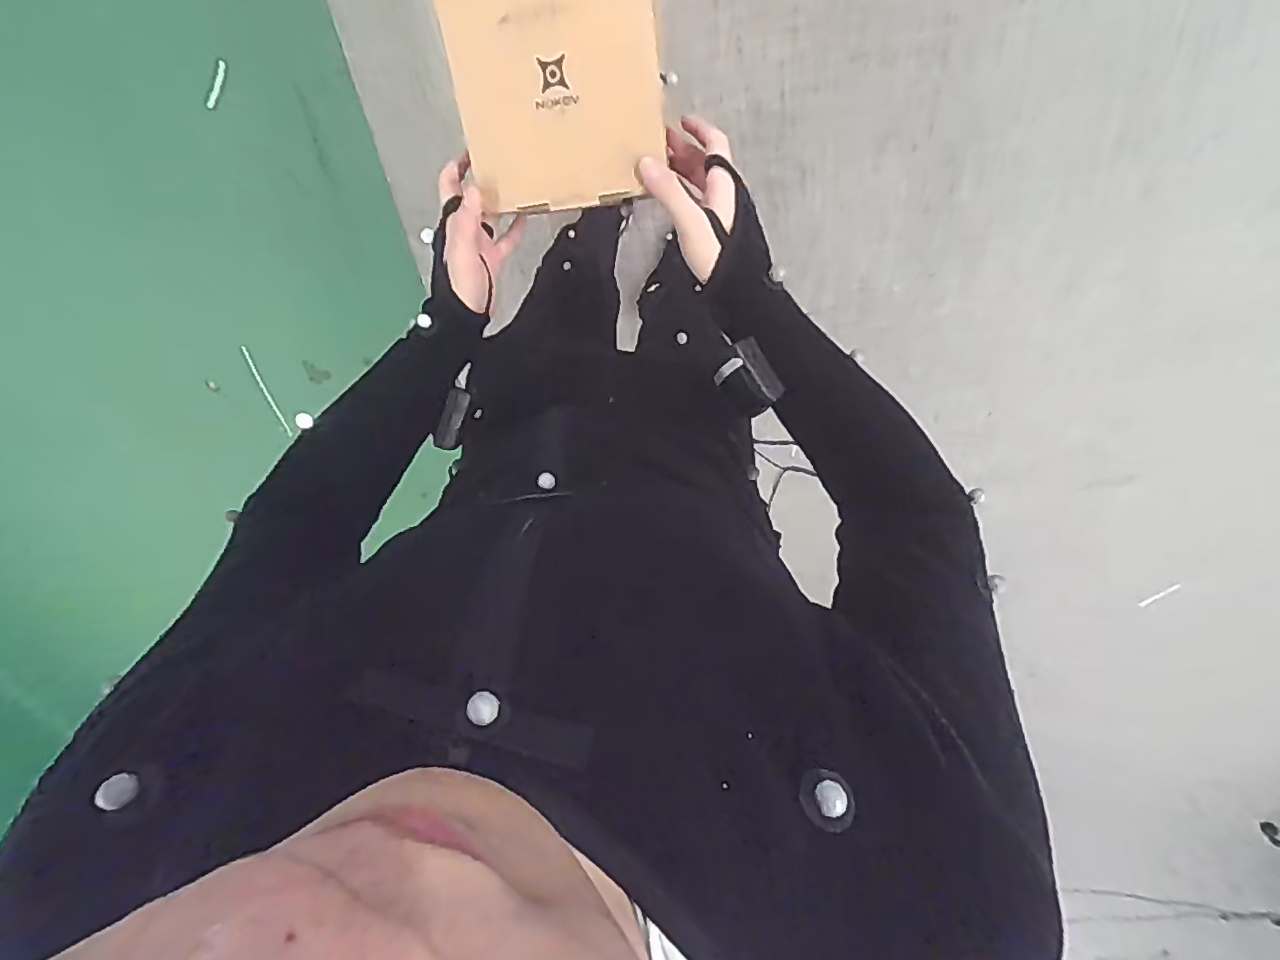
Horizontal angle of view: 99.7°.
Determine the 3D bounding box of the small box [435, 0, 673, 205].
[{"bbox_3d":[-0.061,-0.357,0.492,0.168,0.176,0.179,-3,115,8],"label":"small box"}]
